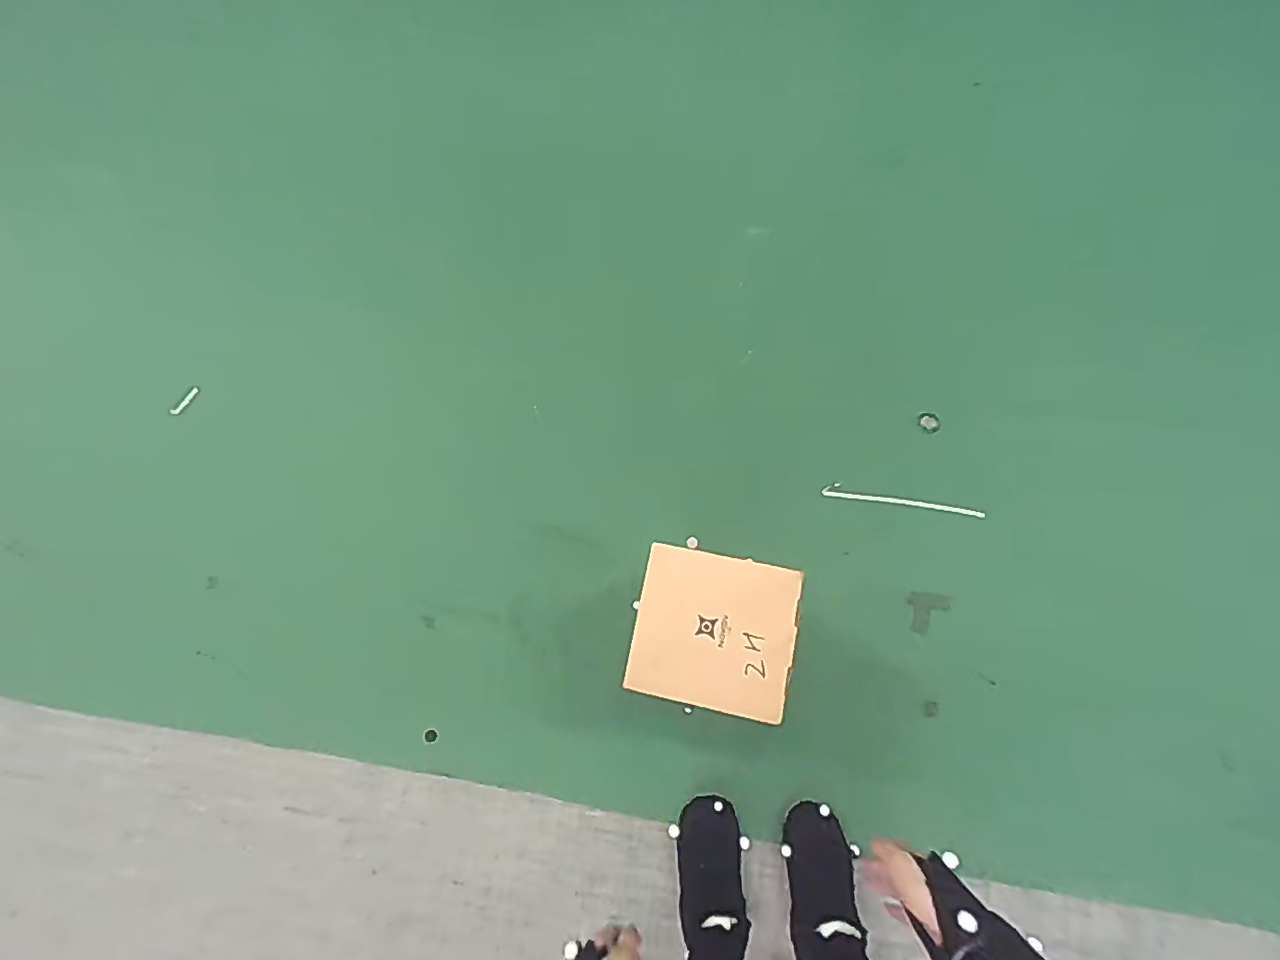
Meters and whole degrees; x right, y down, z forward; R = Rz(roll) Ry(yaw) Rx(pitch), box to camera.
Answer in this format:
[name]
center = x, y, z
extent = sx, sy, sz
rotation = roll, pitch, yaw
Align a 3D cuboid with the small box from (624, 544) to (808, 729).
[small box]
center = 0.090, 0.183, 0.665
extent = 0.179, 0.176, 0.168
rotation = 11, 79, 7
